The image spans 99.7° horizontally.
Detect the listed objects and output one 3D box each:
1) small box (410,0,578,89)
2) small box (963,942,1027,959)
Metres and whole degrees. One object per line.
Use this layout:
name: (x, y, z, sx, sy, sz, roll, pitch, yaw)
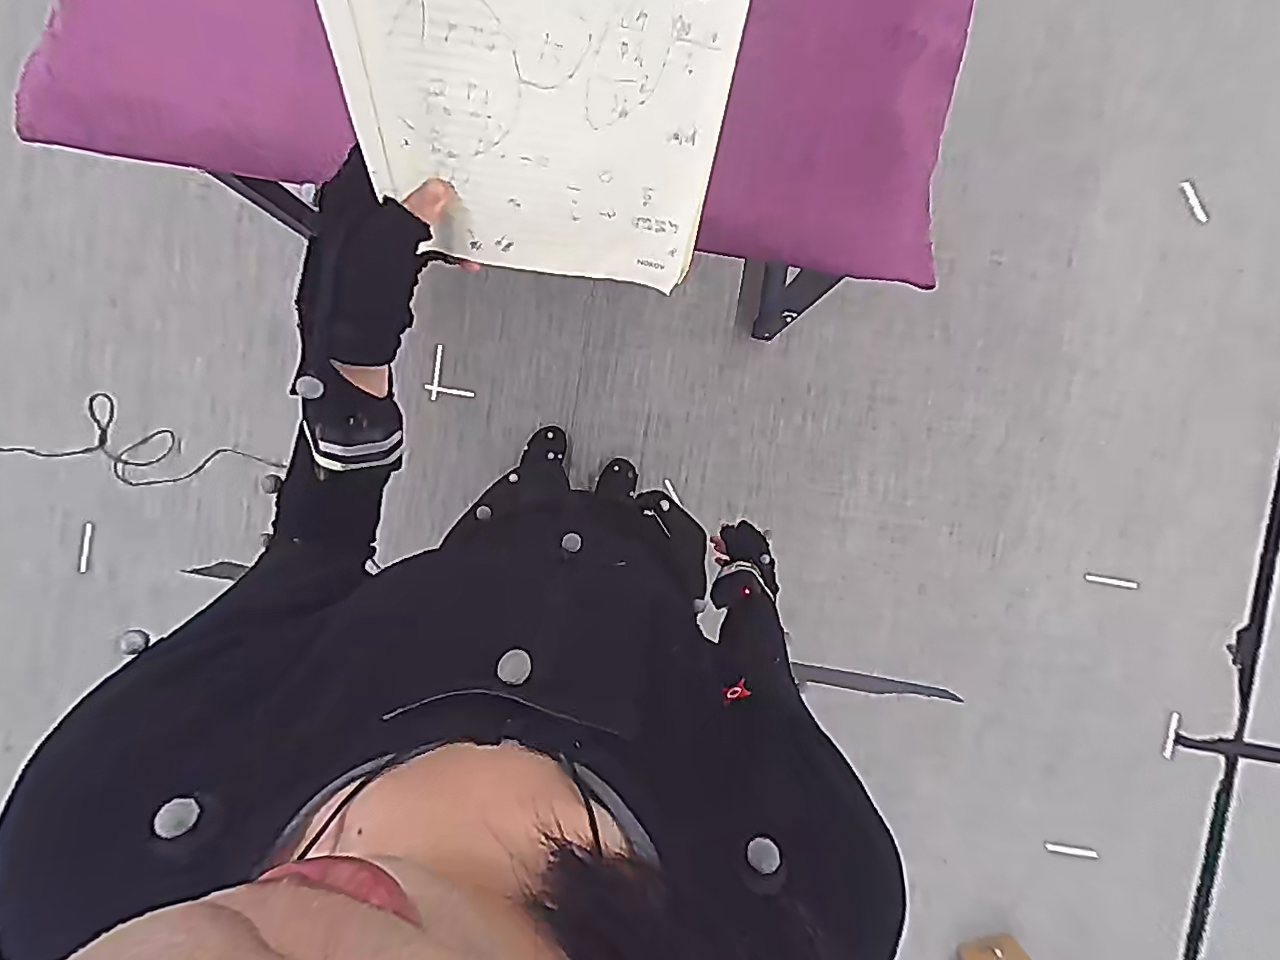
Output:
small box: (-0.172, -0.626, 0.664, 0.179, 0.176, 0.168, 9, 91, -2)
small box: (1.034, 1.447, 1.497, 0.168, 0.176, 0.179, -13, 91, -1)
